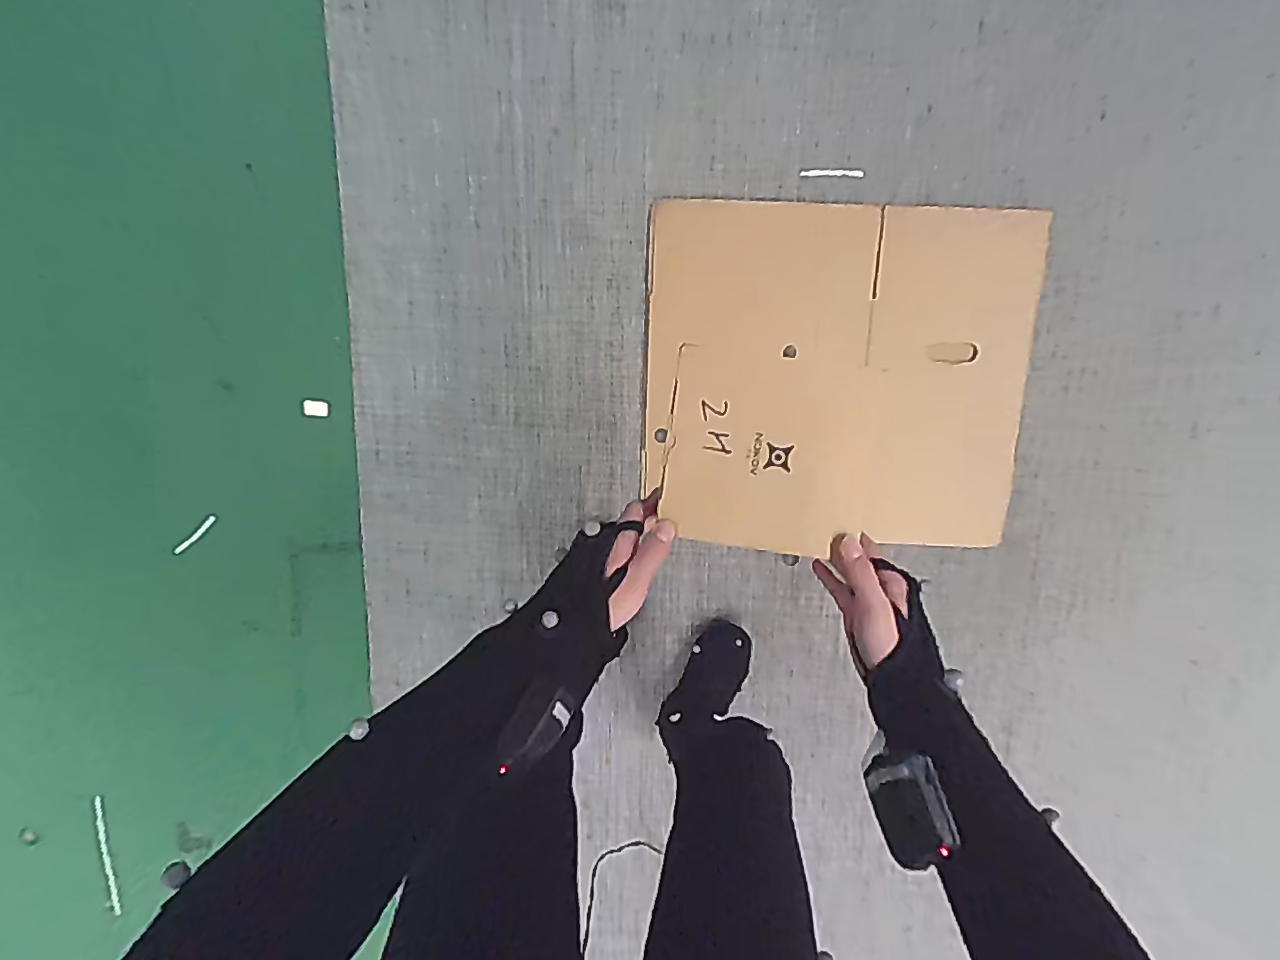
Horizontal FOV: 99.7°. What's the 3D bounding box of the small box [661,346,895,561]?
[{"bbox_3d":[0.122,-0.030,0.540,0.179,0.176,0.168,8,96,5],"label":"small box"}]
